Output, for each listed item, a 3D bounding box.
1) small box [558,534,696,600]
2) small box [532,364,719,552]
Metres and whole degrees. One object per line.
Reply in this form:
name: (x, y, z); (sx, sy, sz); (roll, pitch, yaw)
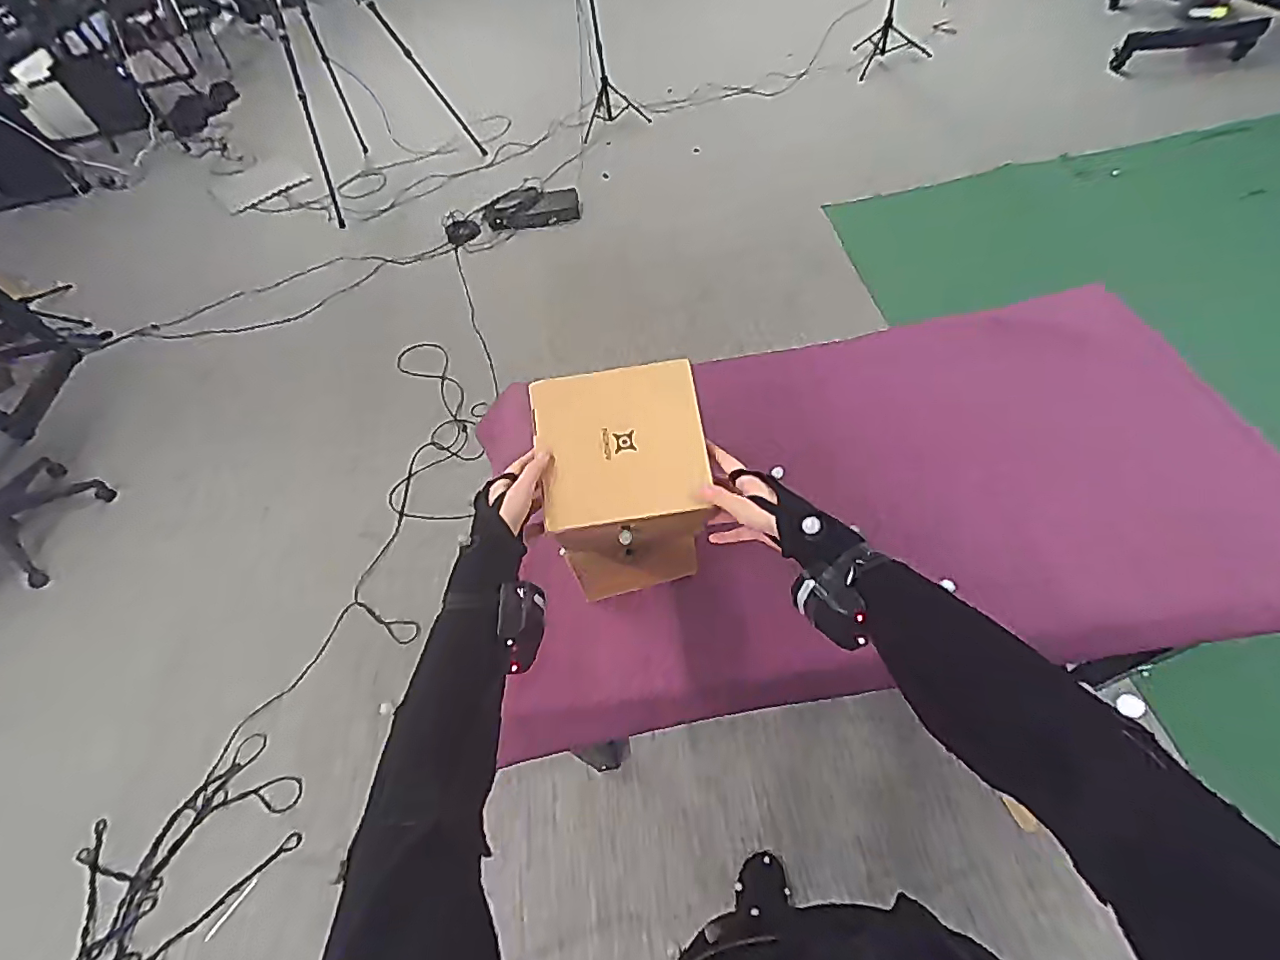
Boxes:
small box: (-0.023, 0.060, 0.803); (0.179, 0.176, 0.168); (-14, 55, -1)
small box: (-0.017, -0.015, 0.629); (0.179, 0.176, 0.168); (-9, 76, -1)
